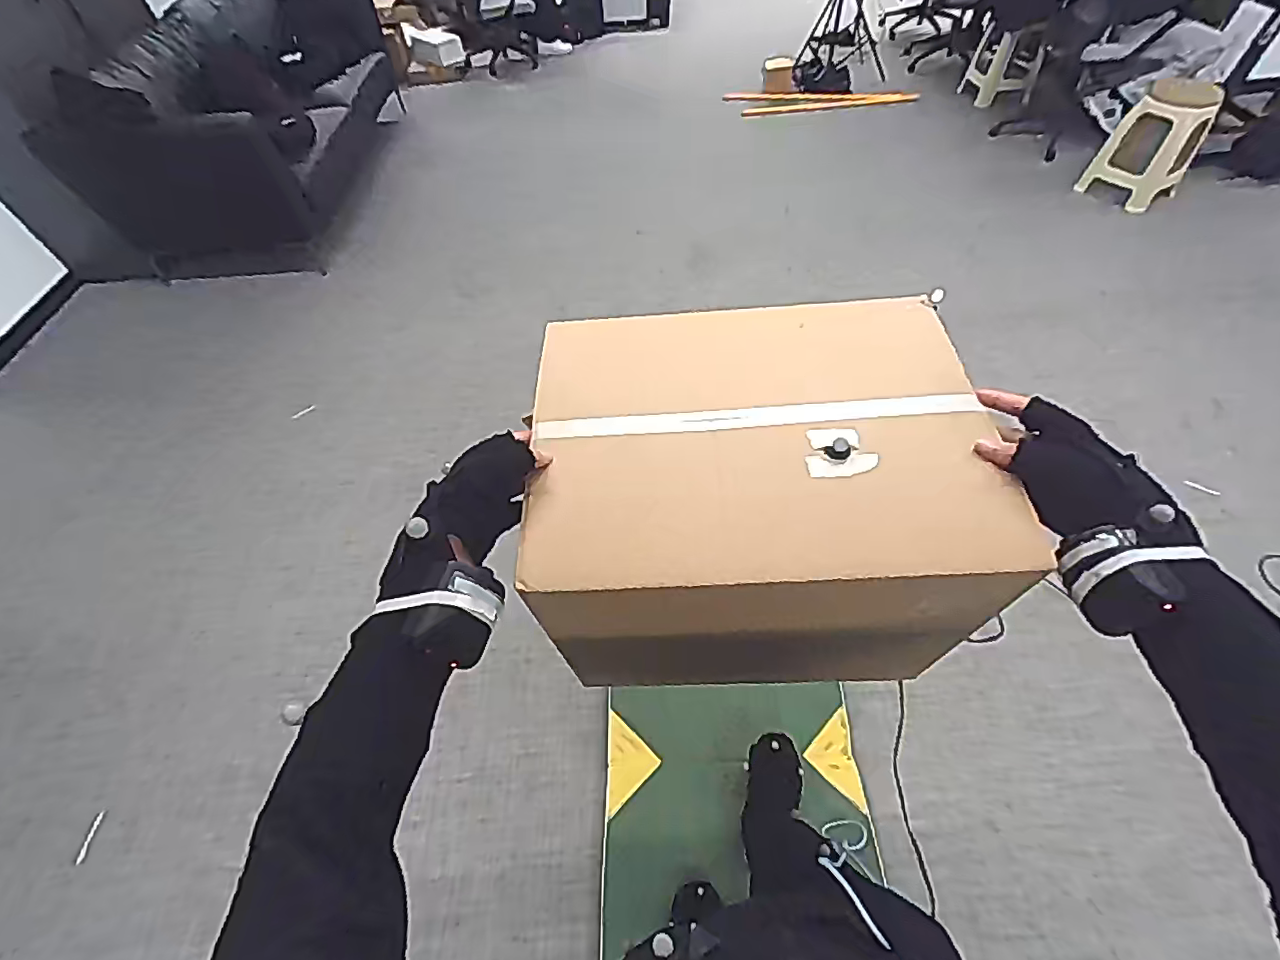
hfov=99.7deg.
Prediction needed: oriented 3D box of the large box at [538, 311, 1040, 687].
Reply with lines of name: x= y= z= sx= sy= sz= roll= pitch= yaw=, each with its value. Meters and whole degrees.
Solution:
large box: x=0.118 y=0.038 z=0.630 sx=0.408 sy=0.320 sz=0.320 roll=-3 pitch=56 yaw=3
